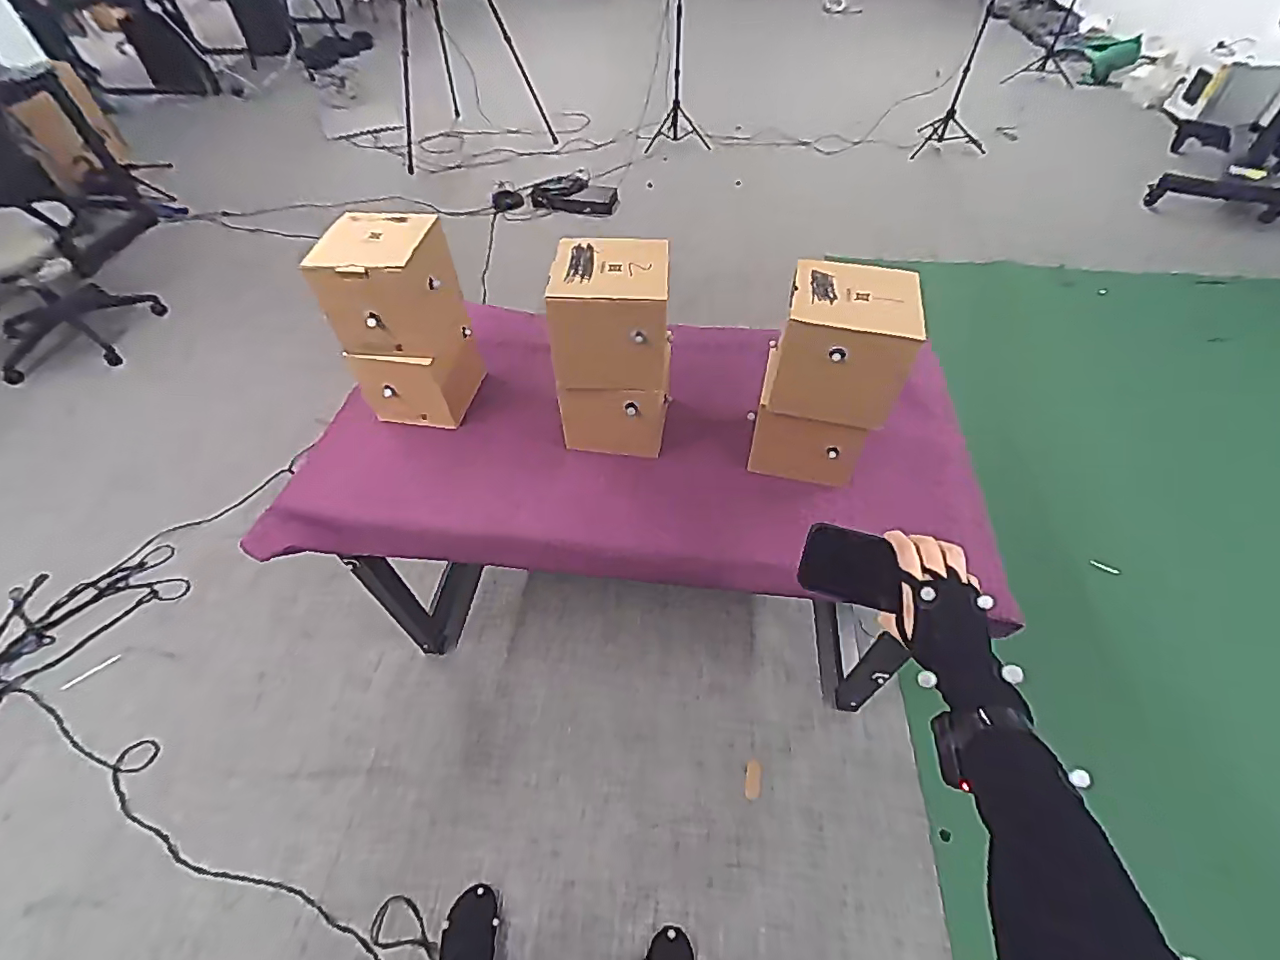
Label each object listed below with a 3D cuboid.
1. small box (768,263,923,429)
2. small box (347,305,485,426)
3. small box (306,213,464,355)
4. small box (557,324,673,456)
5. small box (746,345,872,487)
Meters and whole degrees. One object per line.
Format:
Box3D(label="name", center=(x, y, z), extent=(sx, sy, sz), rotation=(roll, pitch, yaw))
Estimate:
Box3D(label="small box", center=(0.298, -0.198, 0.811), extent=(0.179, 0.176, 0.168), rotation=(12, 52, 10))
Box3D(label="small box", center=(-0.420, -0.226, 1.054), extent=(0.168, 0.176, 0.179), rotation=(8, 52, 7))
Box3D(label="small box", center=(-0.421, -0.334, 0.930), extent=(0.168, 0.176, 0.179), rotation=(4, 52, 3))
Box3D(label="small box", center=(-0.039, -0.162, 0.995), extent=(0.179, 0.176, 0.168), rotation=(7, 52, 7))
Box3D(label="small box", center=(0.295, -0.108, 0.949), extent=(0.179, 0.176, 0.168), rotation=(12, 52, 11))
